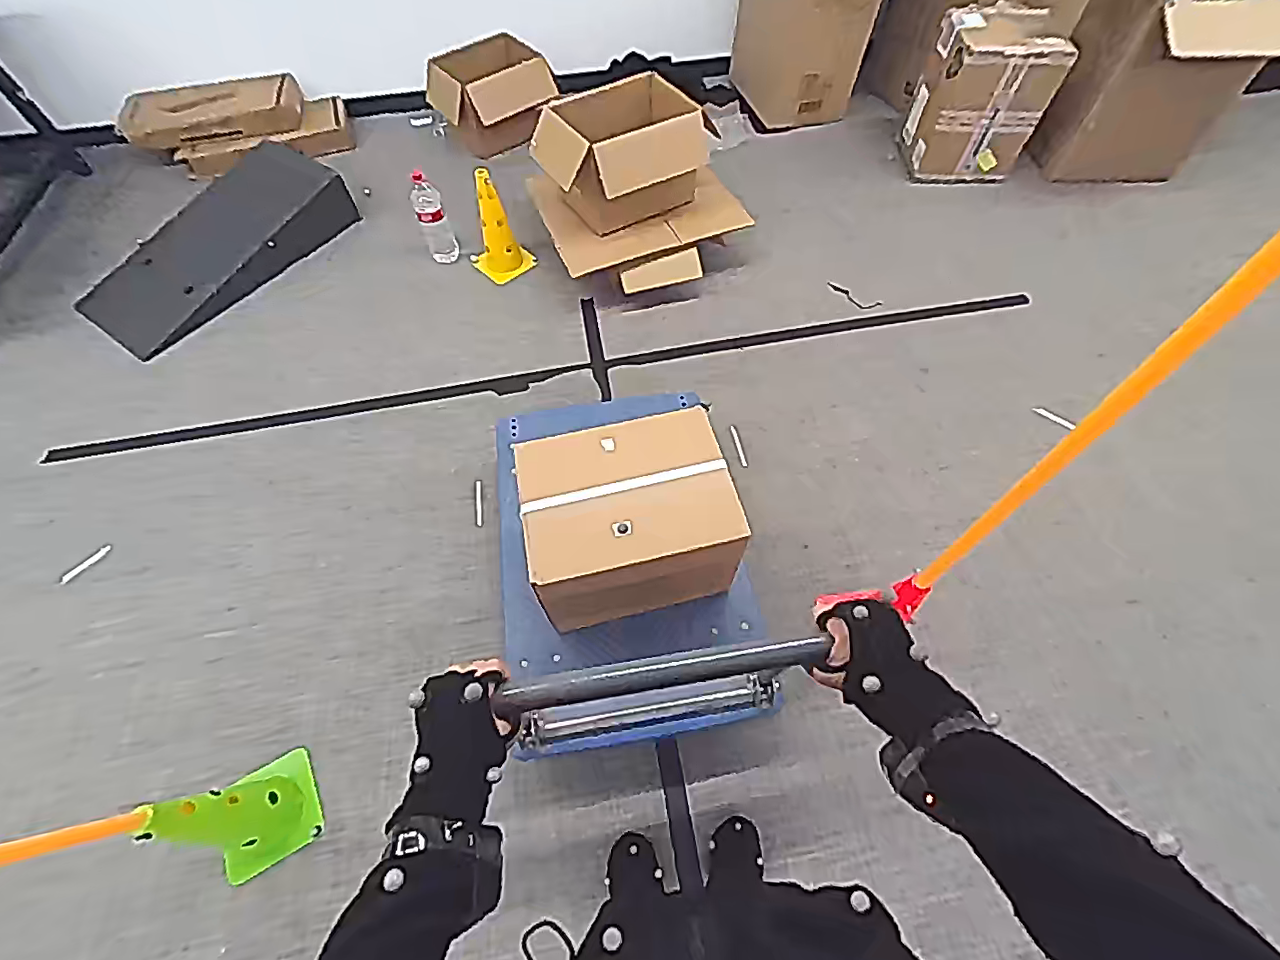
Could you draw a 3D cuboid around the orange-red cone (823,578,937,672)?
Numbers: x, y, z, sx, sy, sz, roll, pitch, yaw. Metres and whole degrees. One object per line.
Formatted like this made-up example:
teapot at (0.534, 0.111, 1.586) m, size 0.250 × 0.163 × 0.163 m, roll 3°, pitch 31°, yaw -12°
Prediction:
orange-red cone at (0.573, 0.296, 1.221) m, size 0.199 × 0.360 × 0.198 m, roll -3°, pitch 60°, yaw -2°
